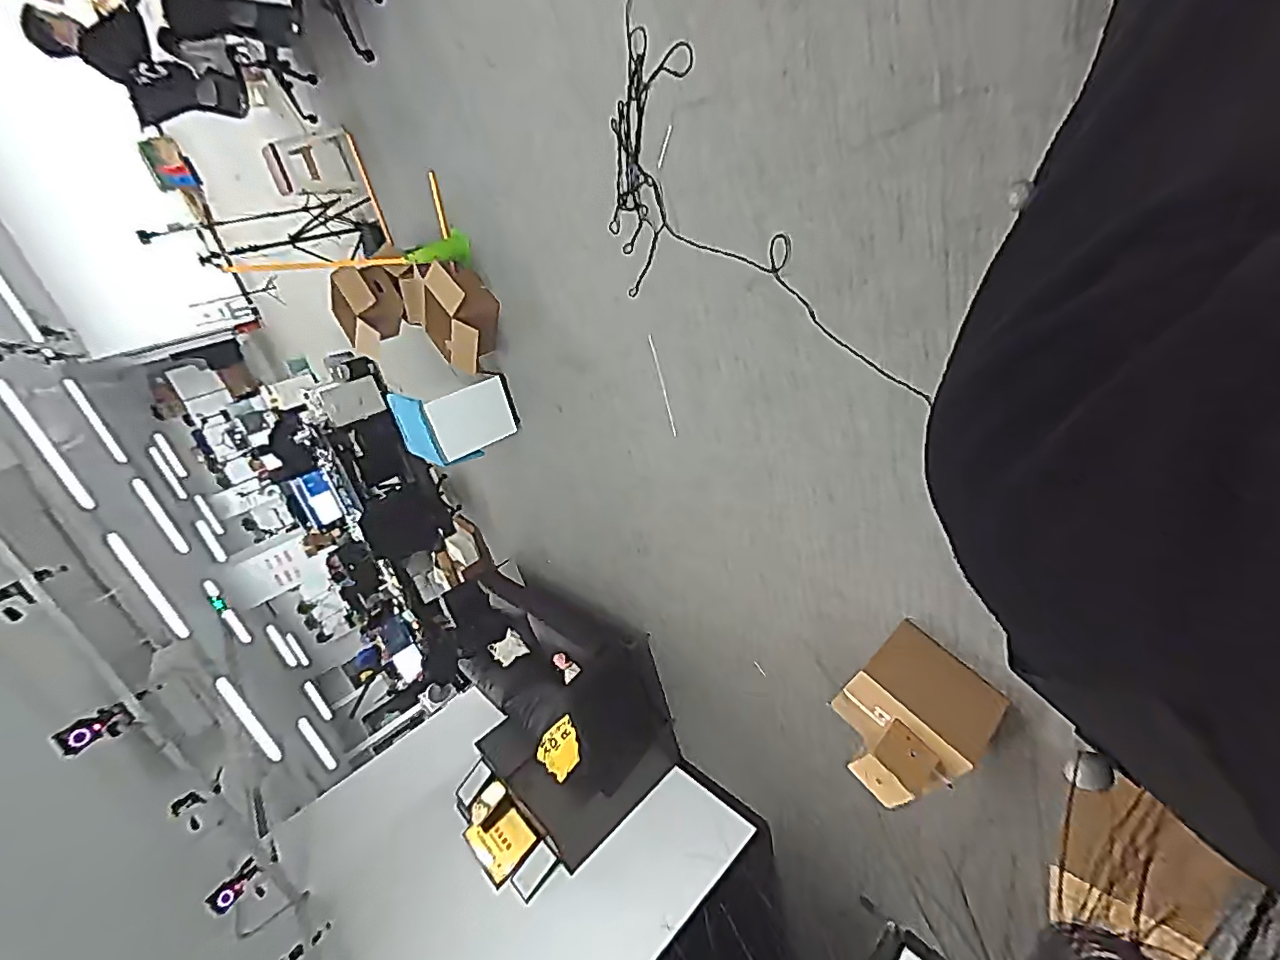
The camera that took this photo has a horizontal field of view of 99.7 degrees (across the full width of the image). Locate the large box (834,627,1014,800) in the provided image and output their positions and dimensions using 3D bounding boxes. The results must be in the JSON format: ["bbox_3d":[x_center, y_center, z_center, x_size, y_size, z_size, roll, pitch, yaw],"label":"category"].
[{"bbox_3d":[0.978,0.805,1.891,0.408,0.320,0.320,42,144,29],"label":"large box"}]

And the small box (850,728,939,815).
[{"bbox_3d":[0.826,0.941,1.749,0.168,0.176,0.179,44,146,25],"label":"small box"}]
